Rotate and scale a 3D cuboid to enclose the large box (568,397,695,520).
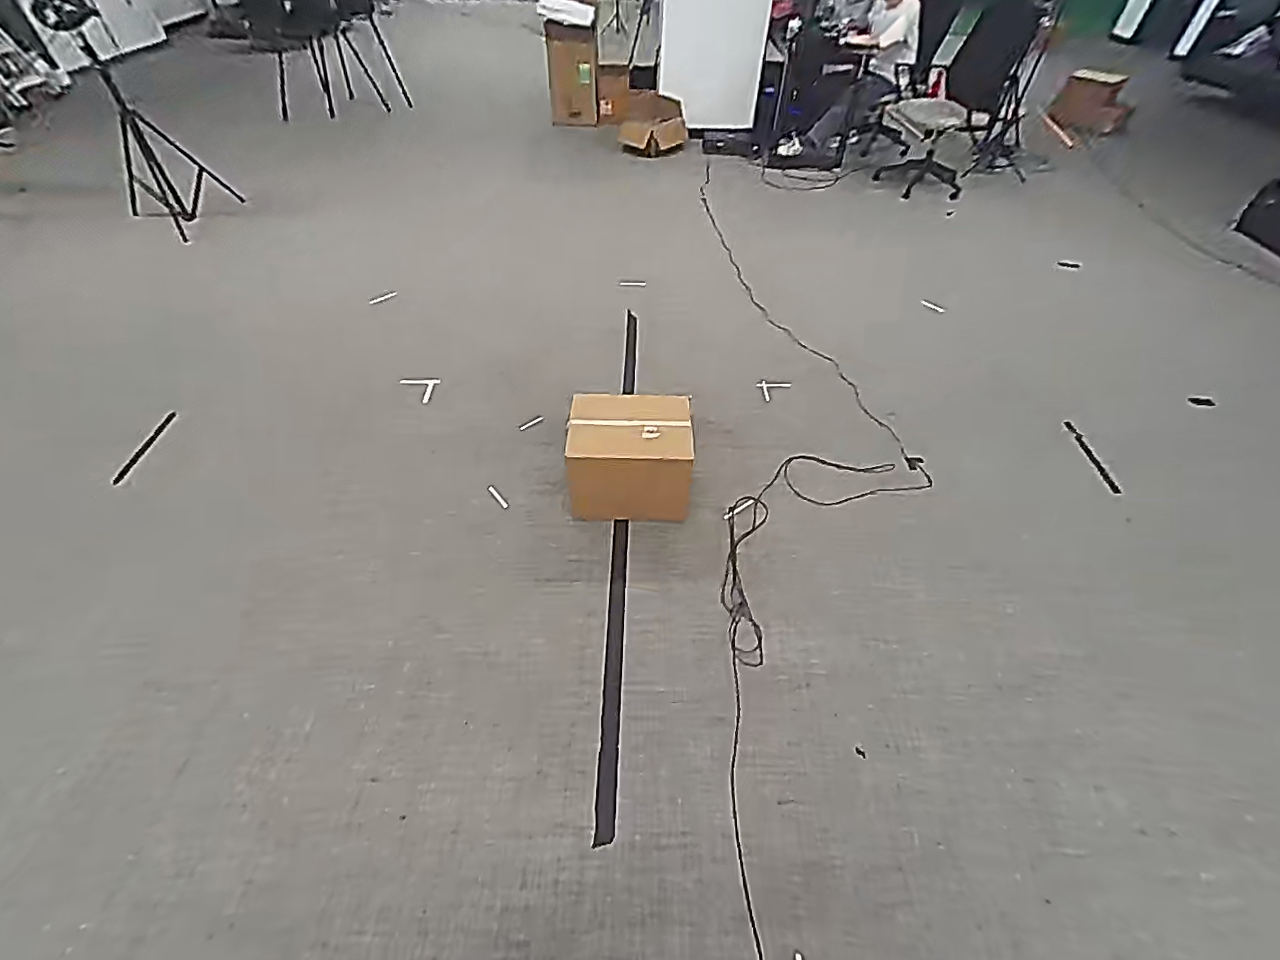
[{"bbox_3d":[-0.033,-0.072,1.889,0.408,0.320,0.320,2,47,-1],"label":"large box"}]
